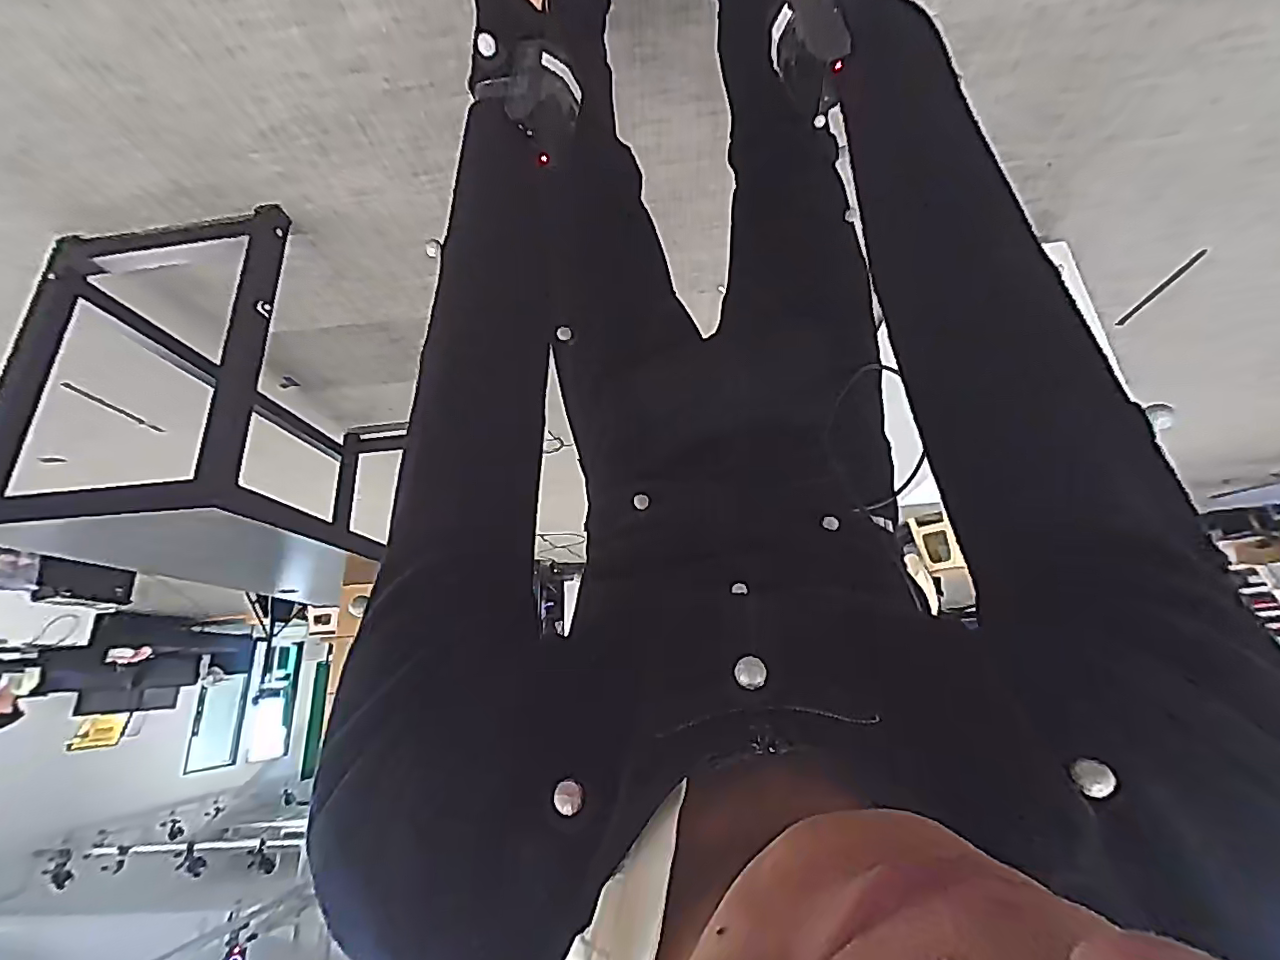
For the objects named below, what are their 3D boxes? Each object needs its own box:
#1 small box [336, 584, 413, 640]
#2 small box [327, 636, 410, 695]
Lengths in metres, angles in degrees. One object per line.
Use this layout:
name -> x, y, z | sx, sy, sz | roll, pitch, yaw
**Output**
small box -> -0.875, 0.443, 1.801 | 0.179, 0.176, 0.168 | -6, 159, 6
small box -> -0.868, 0.598, 1.743 | 0.179, 0.176, 0.168 | -6, 160, 5
